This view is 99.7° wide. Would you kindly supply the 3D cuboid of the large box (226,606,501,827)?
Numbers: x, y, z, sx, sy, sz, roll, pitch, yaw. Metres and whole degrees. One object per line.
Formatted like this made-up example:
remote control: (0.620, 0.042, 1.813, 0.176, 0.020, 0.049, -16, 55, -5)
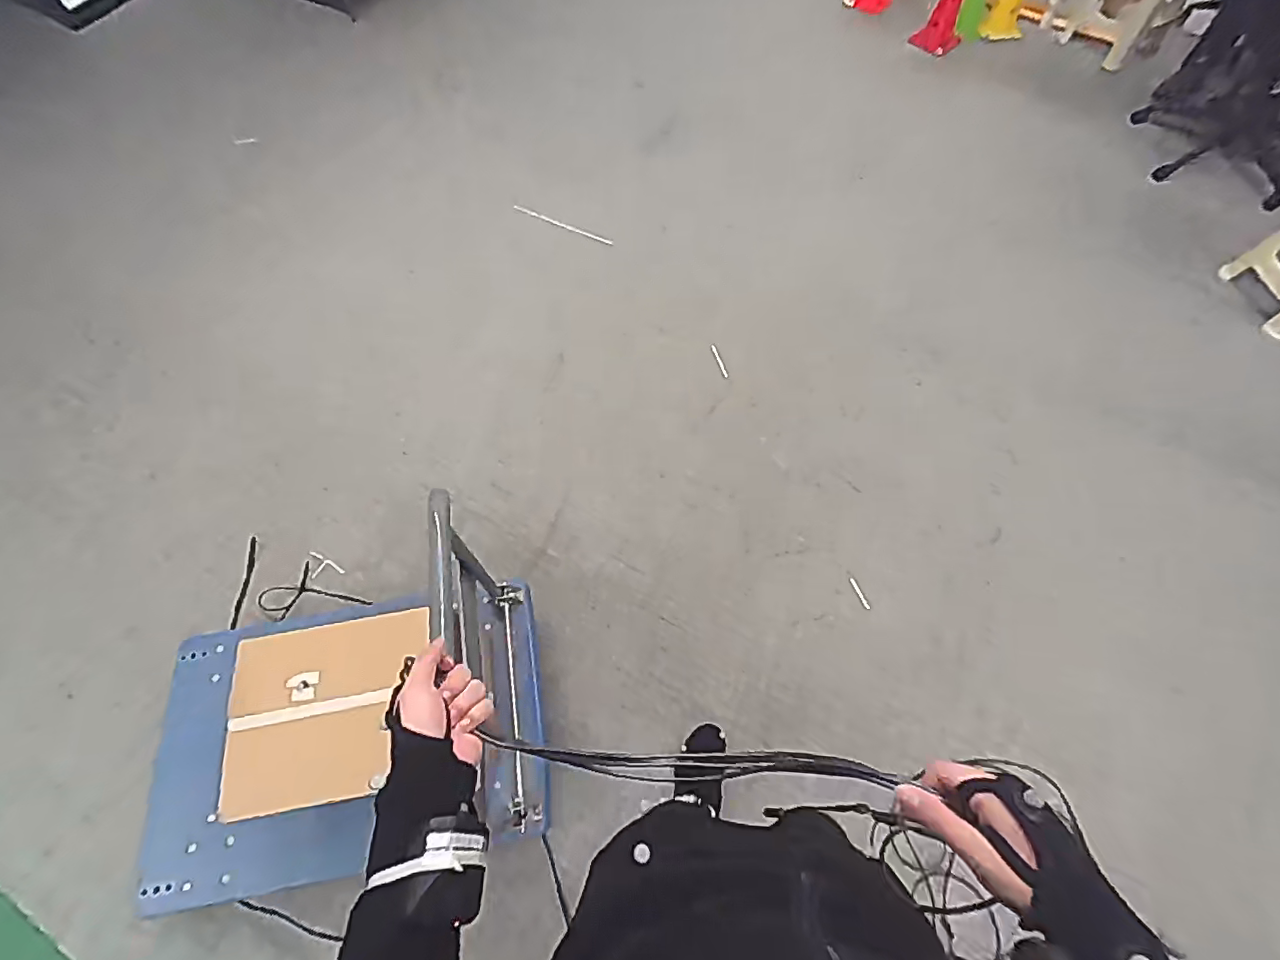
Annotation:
large box: (-0.539, 0.482, 1.130, 0.408, 0.320, 0.320, -11, 64, -2)
